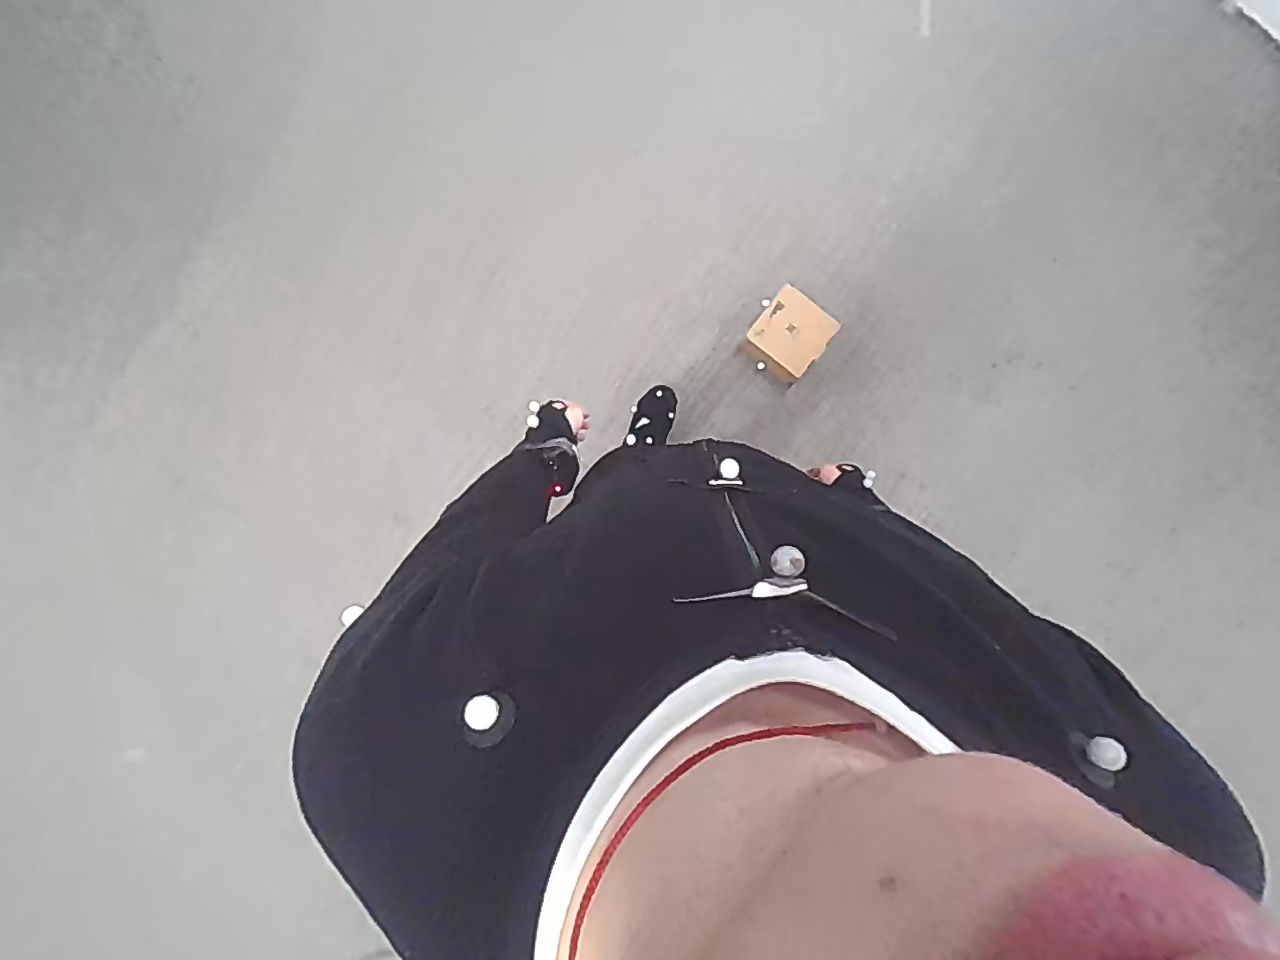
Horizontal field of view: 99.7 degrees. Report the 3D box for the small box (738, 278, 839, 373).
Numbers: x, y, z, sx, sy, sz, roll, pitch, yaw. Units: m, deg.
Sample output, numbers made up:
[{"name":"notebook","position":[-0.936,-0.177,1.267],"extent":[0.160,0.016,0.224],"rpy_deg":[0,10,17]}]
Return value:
[{"name":"small box","position":[0.380,-0.396,1.418],"extent":[0.179,0.176,0.168],"rpy_deg":[38,97,-3]}]
